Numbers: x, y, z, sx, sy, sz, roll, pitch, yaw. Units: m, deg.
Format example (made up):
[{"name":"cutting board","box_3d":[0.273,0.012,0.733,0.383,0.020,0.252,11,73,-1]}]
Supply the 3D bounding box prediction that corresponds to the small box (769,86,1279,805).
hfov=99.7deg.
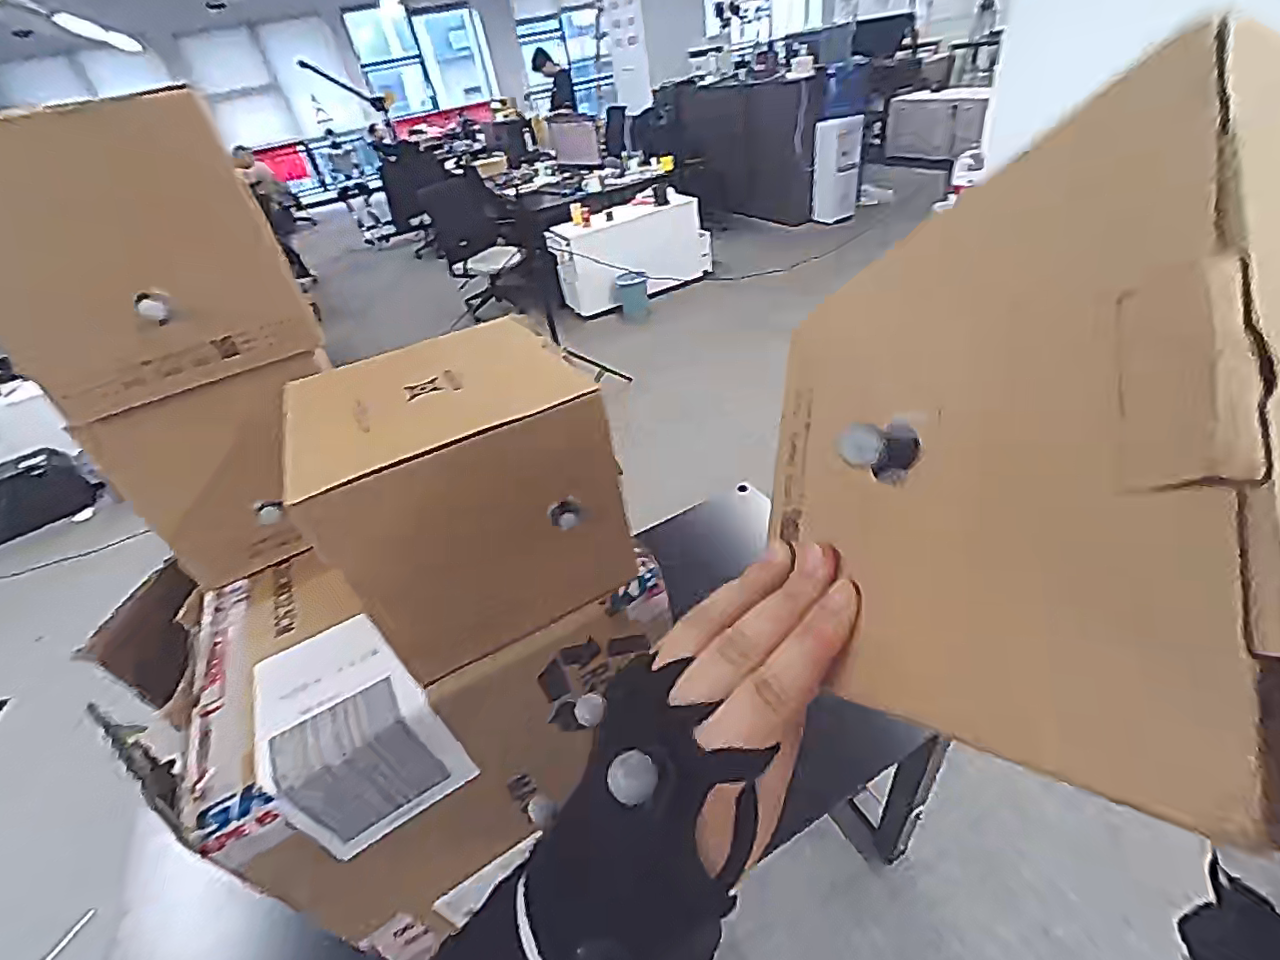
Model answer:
[{"name":"small box","box_3d":[0.170,0.012,0.209,0.179,0.176,0.168,13,78,-13]}]

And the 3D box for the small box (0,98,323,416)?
[{"name":"small box","box_3d":[-0.372,-0.170,0.411,0.168,0.176,0.179,-28,39,-22]}]

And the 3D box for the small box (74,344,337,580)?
[{"name":"small box","box_3d":[-0.357,-0.039,0.511,0.168,0.176,0.179,-27,40,-21]}]

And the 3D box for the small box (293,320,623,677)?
[{"name":"small box","box_3d":[-0.125,0.006,0.405,0.179,0.176,0.168,-25,40,-18]}]
